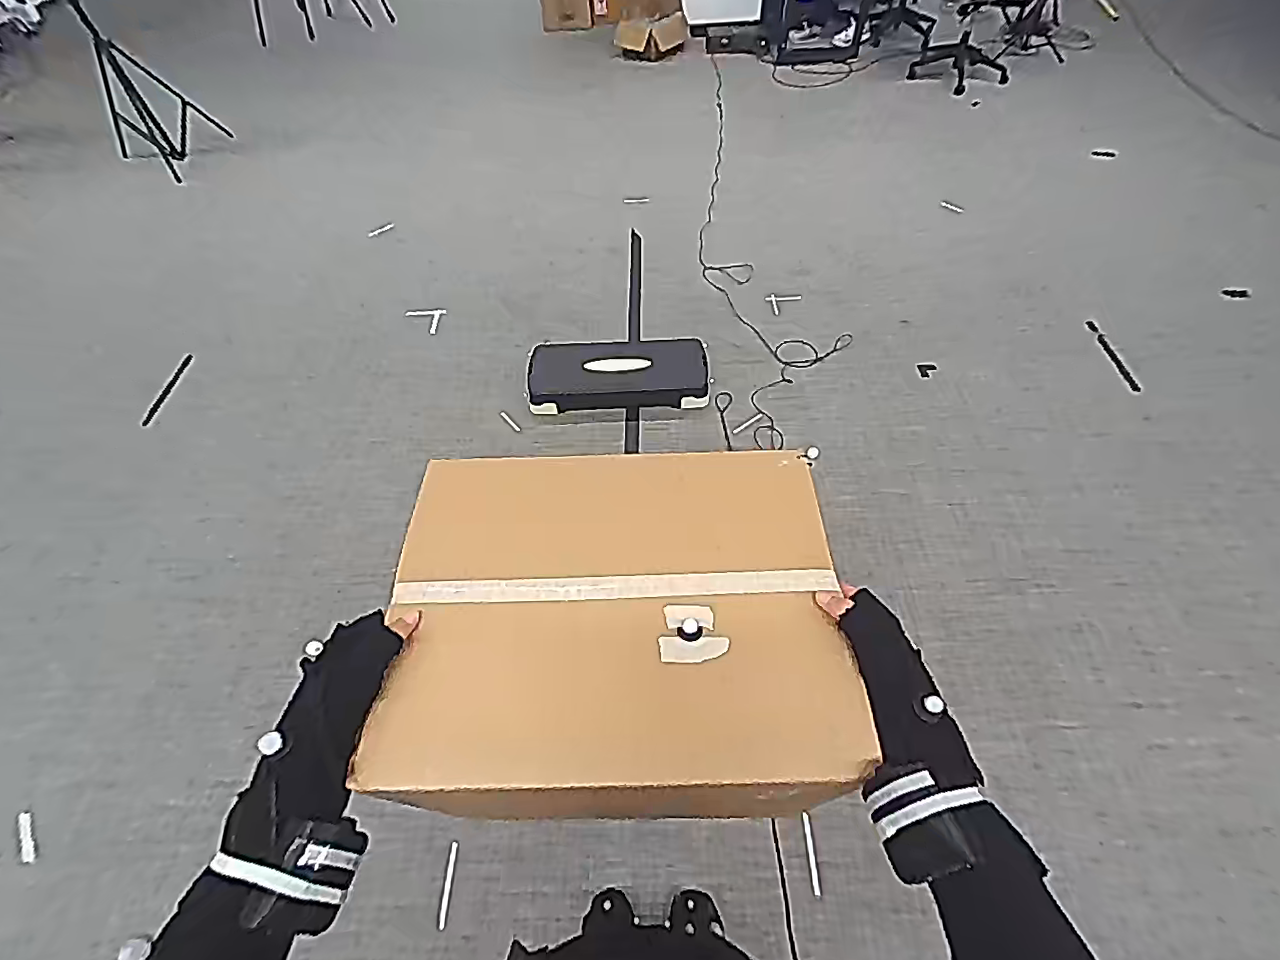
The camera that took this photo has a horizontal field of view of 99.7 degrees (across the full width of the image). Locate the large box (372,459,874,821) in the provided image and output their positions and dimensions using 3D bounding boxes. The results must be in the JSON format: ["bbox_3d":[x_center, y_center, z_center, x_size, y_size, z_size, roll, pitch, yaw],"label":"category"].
[{"bbox_3d":[-0.014,0.195,0.628,0.408,0.320,0.320,-1,54,1],"label":"large box"}]
